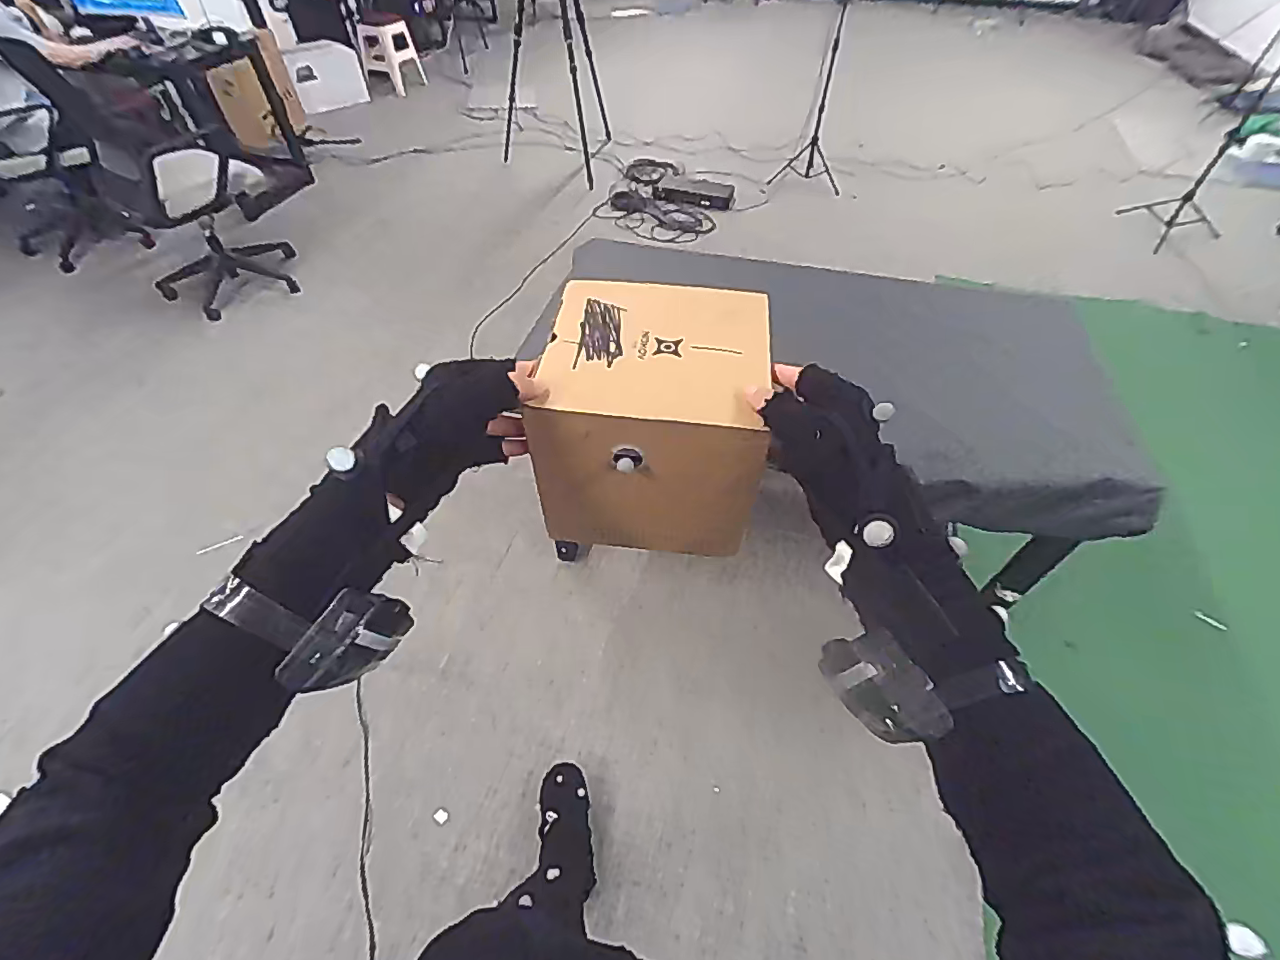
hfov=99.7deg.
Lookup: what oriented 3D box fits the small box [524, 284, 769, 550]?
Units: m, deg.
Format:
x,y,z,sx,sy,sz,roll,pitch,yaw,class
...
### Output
x,y,z,sx,sy,sz,roll,pitch,yaw,class
0.013,-0.053,0.487,0.179,0.176,0.168,6,51,4,small box
